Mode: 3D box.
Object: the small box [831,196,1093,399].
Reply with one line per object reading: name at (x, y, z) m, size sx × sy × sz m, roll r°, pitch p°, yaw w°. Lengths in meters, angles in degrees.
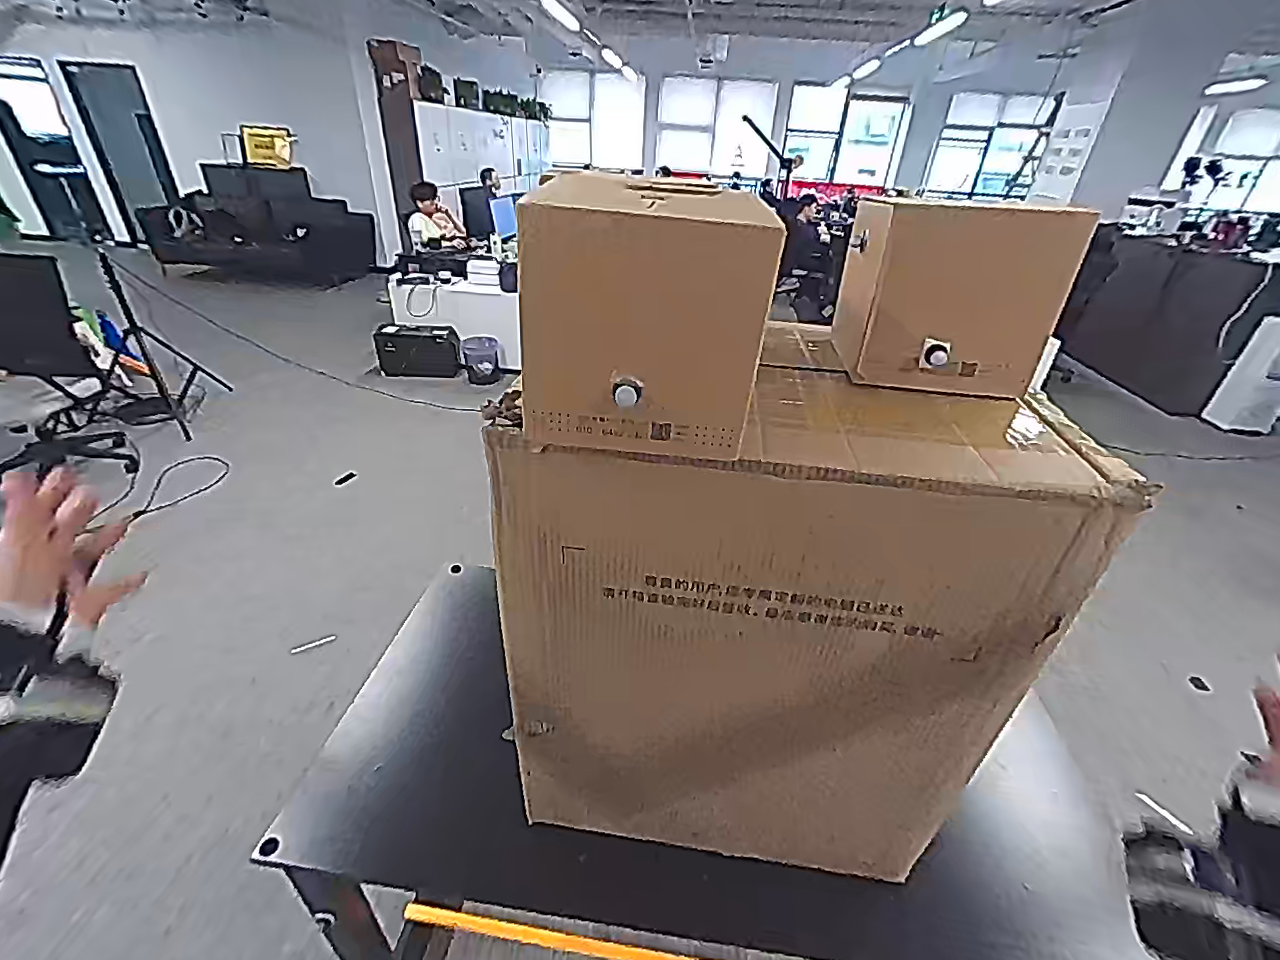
small box at (0.310, -0.199, 0.571) m, size 0.168 × 0.176 × 0.179 m, roll 5°, pitch 31°, yaw 7°
